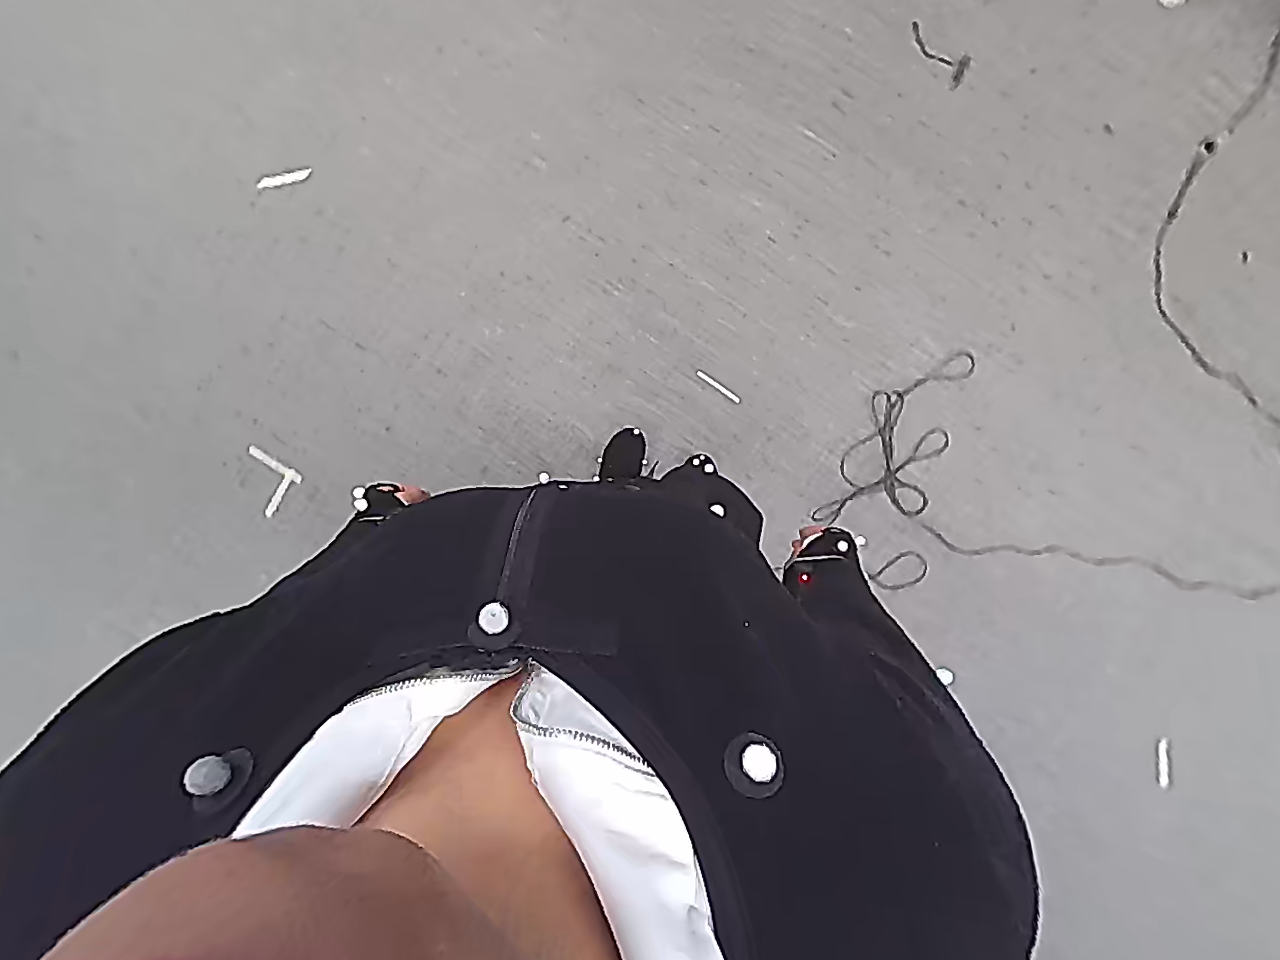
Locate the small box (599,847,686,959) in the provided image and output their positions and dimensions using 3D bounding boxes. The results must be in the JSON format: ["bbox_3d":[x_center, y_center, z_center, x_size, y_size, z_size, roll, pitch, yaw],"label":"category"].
[{"bbox_3d":[0.011,1.176,1.501,0.179,0.176,0.168,34,94,1],"label":"small box"}]
